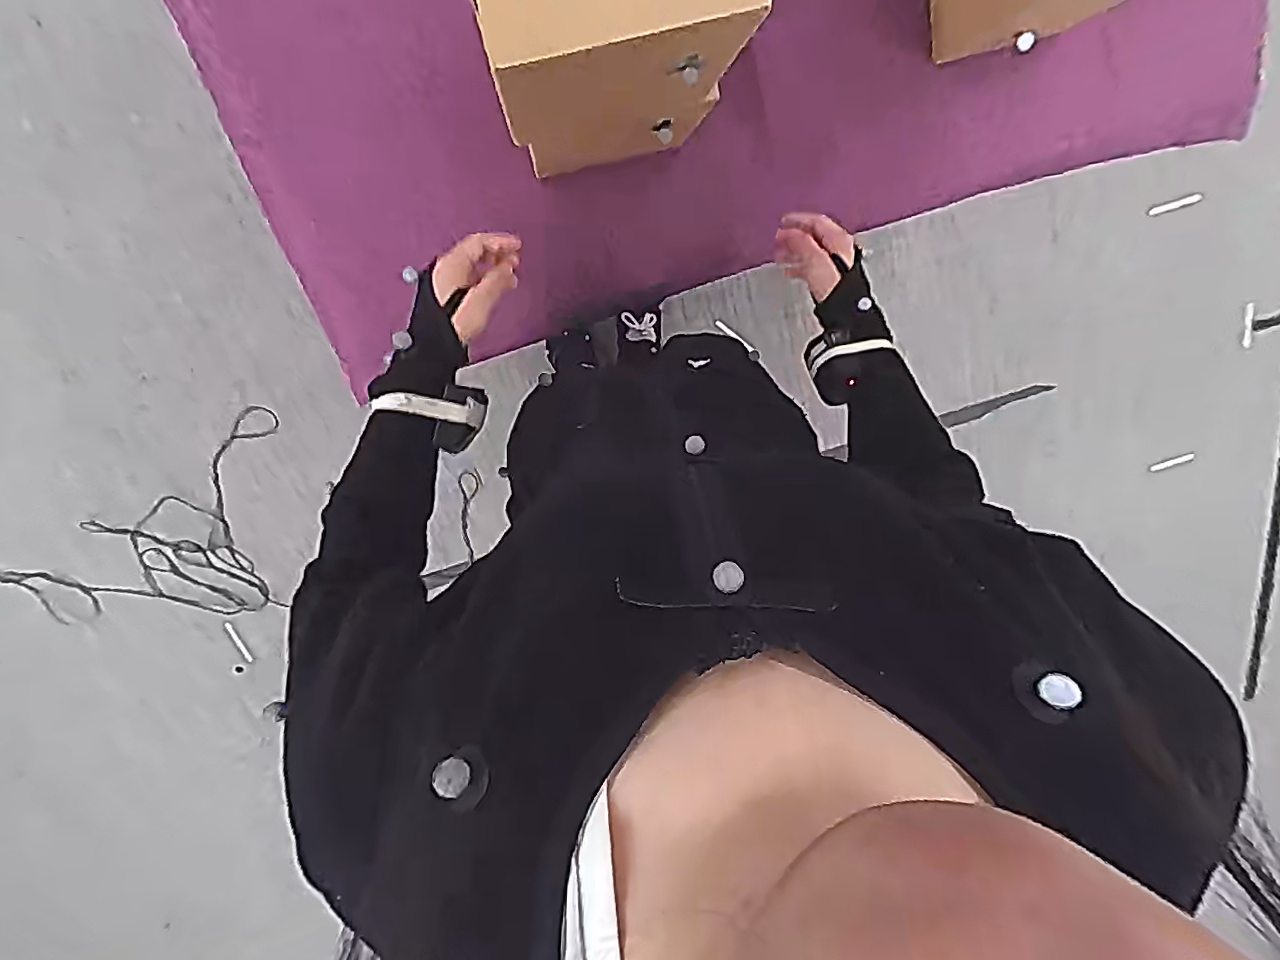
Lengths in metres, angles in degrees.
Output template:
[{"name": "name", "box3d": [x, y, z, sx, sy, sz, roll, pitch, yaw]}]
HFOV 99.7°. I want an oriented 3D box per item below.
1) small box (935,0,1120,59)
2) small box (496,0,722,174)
[{"name": "small box", "box3d": [0.416, -0.566, 0.535, 0.168, 0.176, 0.179, -15, 111, -2]}, {"name": "small box", "box3d": [-0.038, -0.418, 0.523, 0.179, 0.176, 0.168, -15, 110, -2]}]
